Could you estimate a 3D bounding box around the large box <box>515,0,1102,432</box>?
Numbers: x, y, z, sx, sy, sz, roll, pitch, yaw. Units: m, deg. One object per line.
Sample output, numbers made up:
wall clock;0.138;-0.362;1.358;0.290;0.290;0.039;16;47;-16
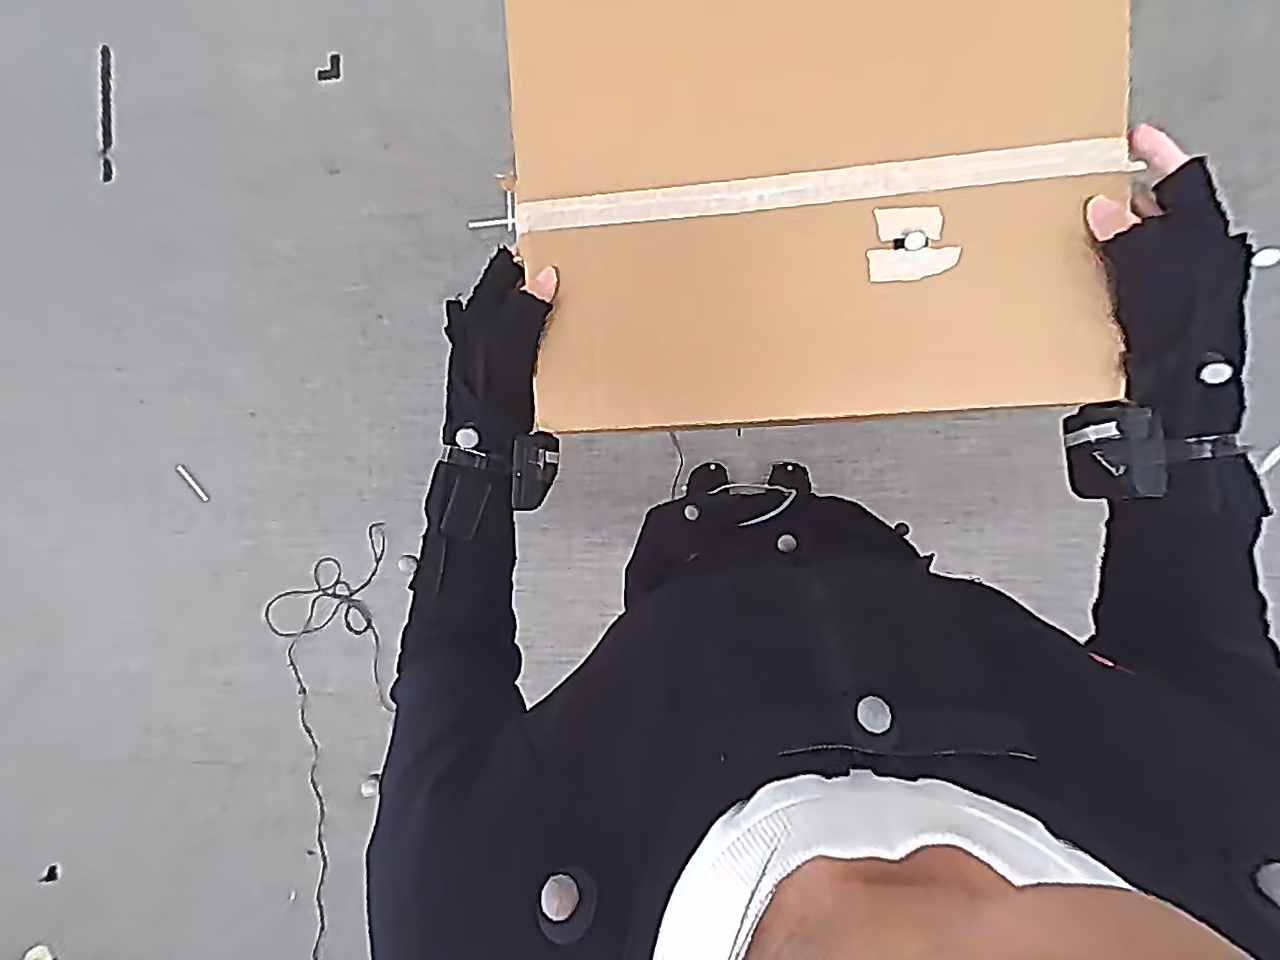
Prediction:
large box;0.127;-0.218;0.535;0.408;0.320;0.320;-3;95;6
